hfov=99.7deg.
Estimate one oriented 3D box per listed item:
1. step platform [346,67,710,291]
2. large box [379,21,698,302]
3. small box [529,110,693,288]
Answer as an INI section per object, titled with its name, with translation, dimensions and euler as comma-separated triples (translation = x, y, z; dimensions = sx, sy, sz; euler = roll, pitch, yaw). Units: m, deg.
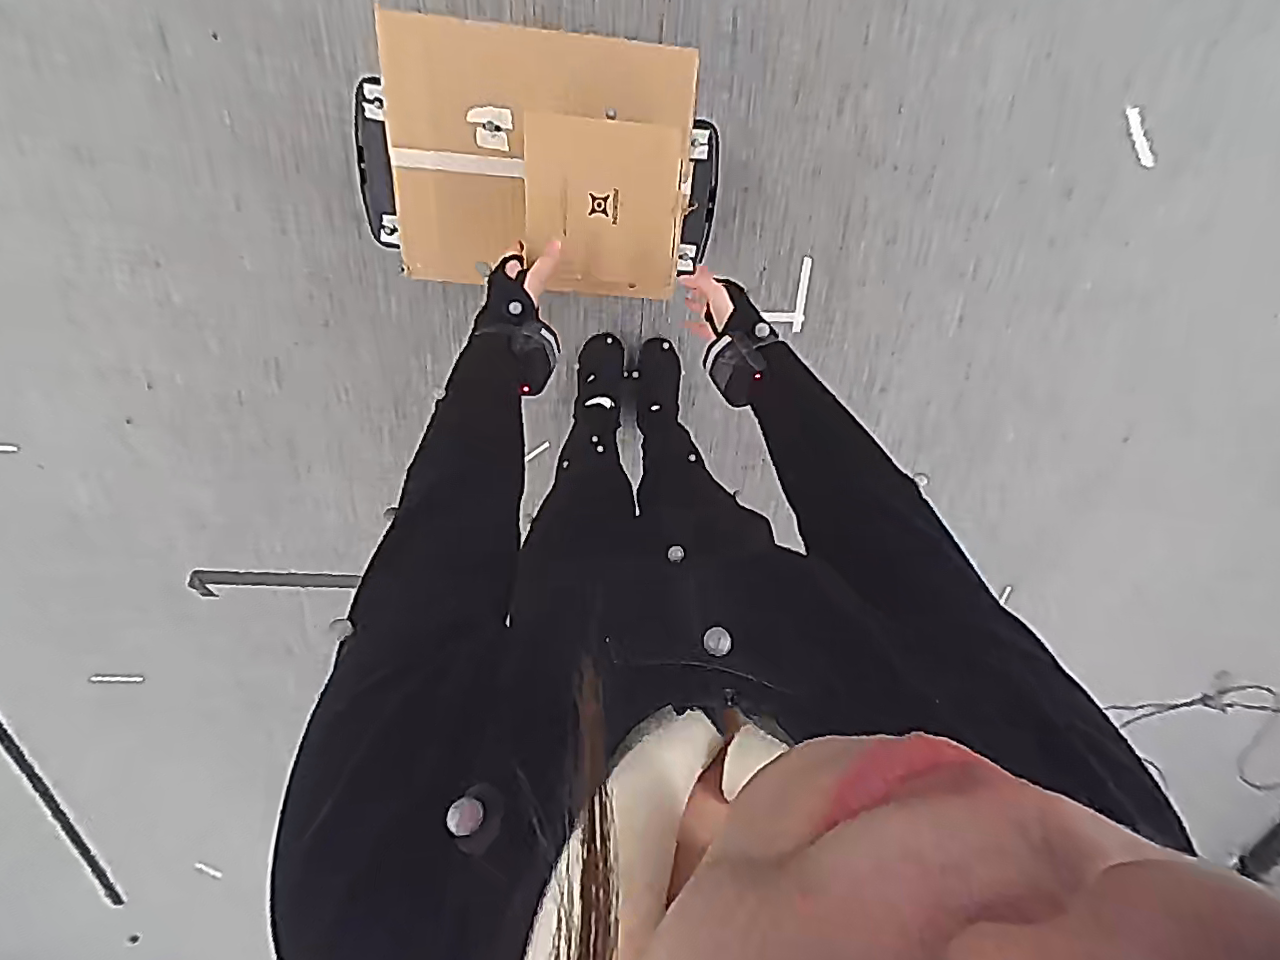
[step platform]
translation = -0.206, -0.578, 1.086
dimensions = 0.684, 0.204, 0.286
euler = 8, 116, -7
[large box]
translation = -0.137, -0.484, 0.871
dimensions = 0.408, 0.320, 0.320
euler = 3, 116, -4
[small box]
translation = -0.041, -0.344, 0.672
dimensions = 0.179, 0.176, 0.168
euler = 3, 117, -5
